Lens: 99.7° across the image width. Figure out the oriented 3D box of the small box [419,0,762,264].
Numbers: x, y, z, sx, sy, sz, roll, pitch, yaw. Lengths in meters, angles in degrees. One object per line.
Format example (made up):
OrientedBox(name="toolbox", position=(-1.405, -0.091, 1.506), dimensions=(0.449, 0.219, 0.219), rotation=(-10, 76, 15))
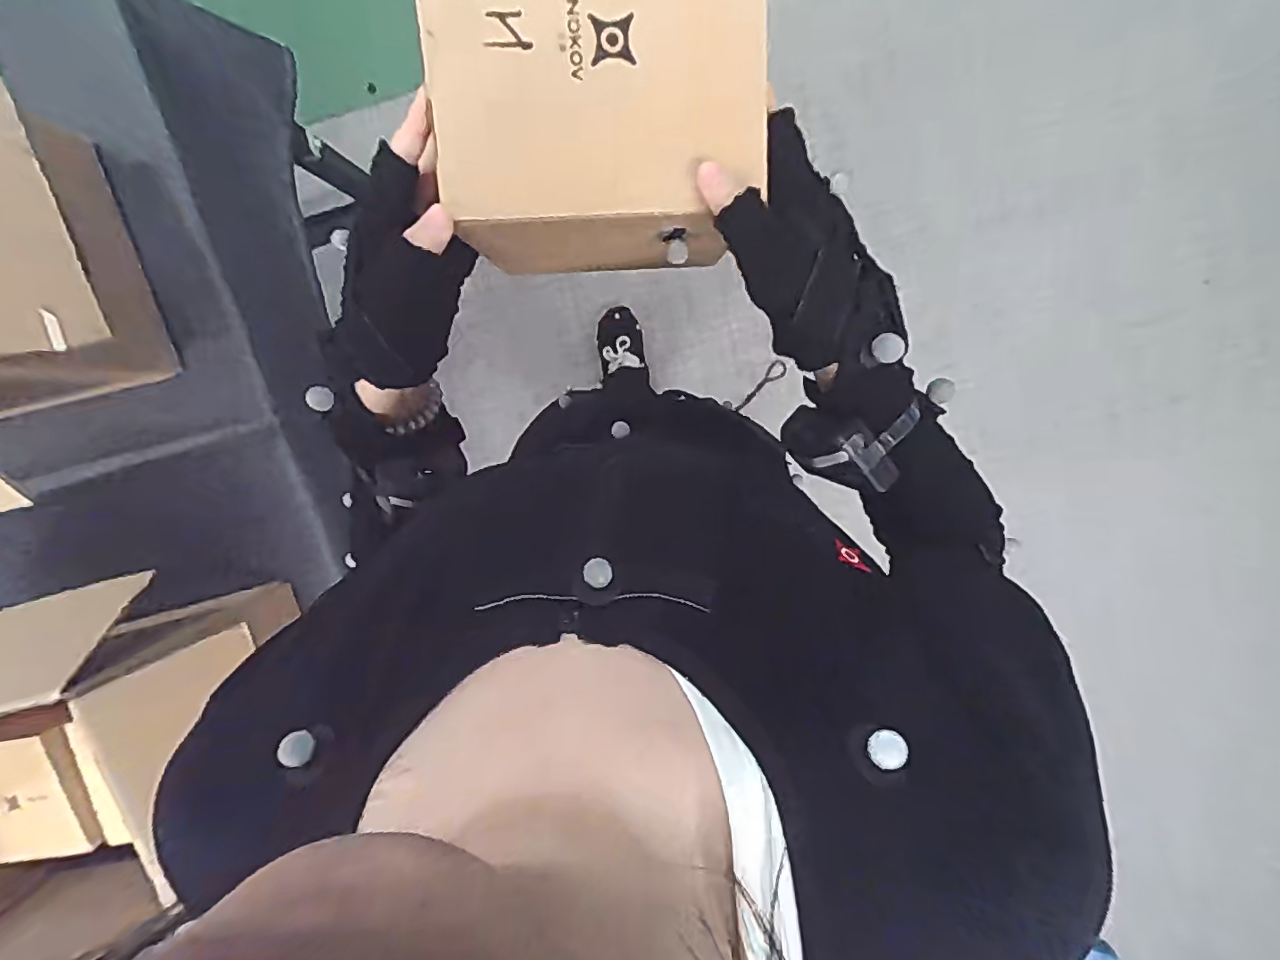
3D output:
OrientedBox(name="small box", position=(-0.028, -0.244, 0.353), dimensions=(0.179, 0.176, 0.168), rotation=(-3, 102, -3))
